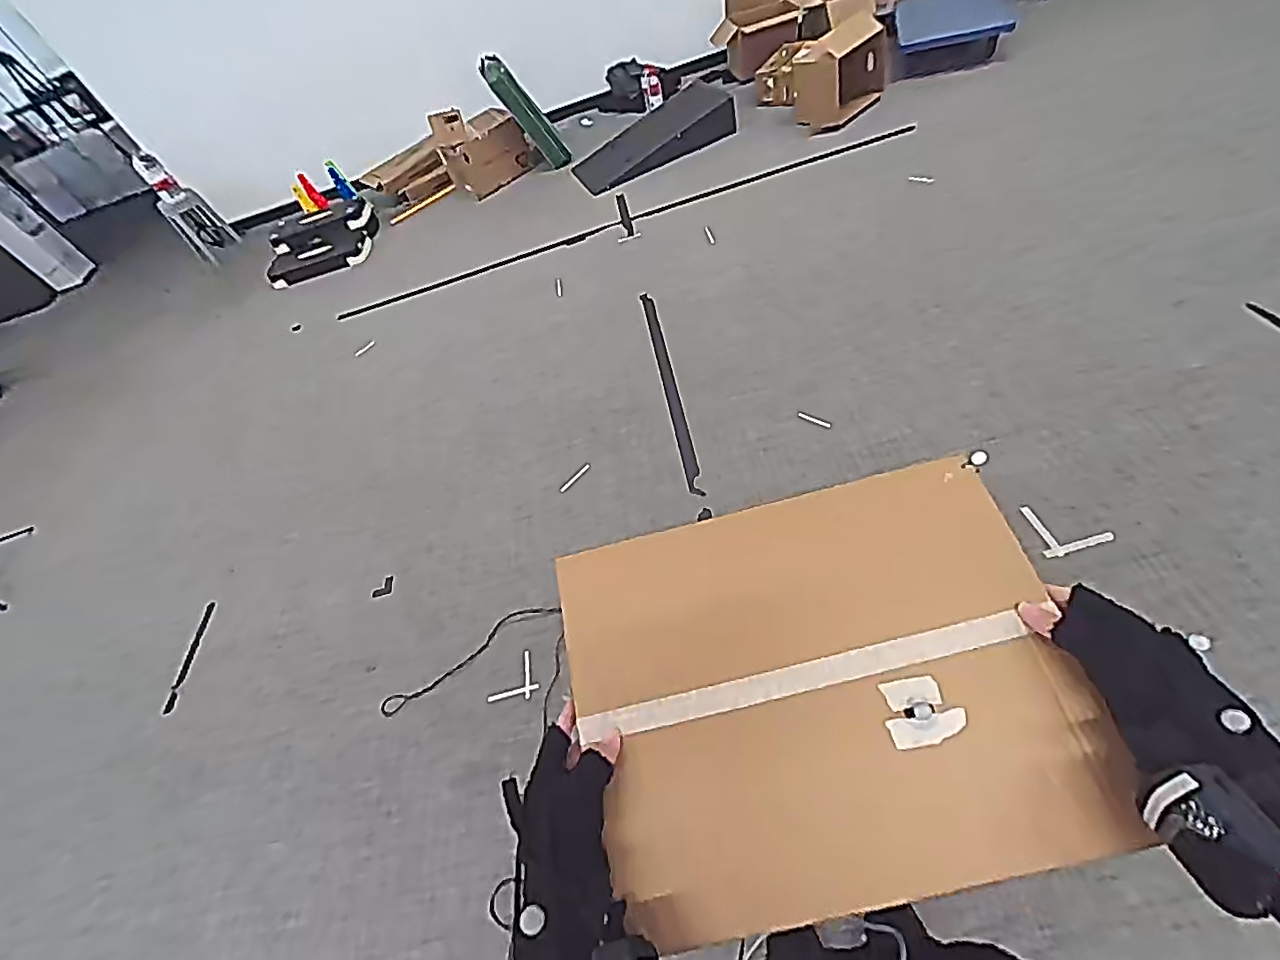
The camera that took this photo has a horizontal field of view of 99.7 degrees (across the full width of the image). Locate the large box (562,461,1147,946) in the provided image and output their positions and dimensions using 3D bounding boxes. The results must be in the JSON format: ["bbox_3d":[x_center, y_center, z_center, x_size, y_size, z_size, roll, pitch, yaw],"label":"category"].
[{"bbox_3d":[0.165,0.231,0.594,0.408,0.320,0.320,-15,62,2],"label":"large box"}]
